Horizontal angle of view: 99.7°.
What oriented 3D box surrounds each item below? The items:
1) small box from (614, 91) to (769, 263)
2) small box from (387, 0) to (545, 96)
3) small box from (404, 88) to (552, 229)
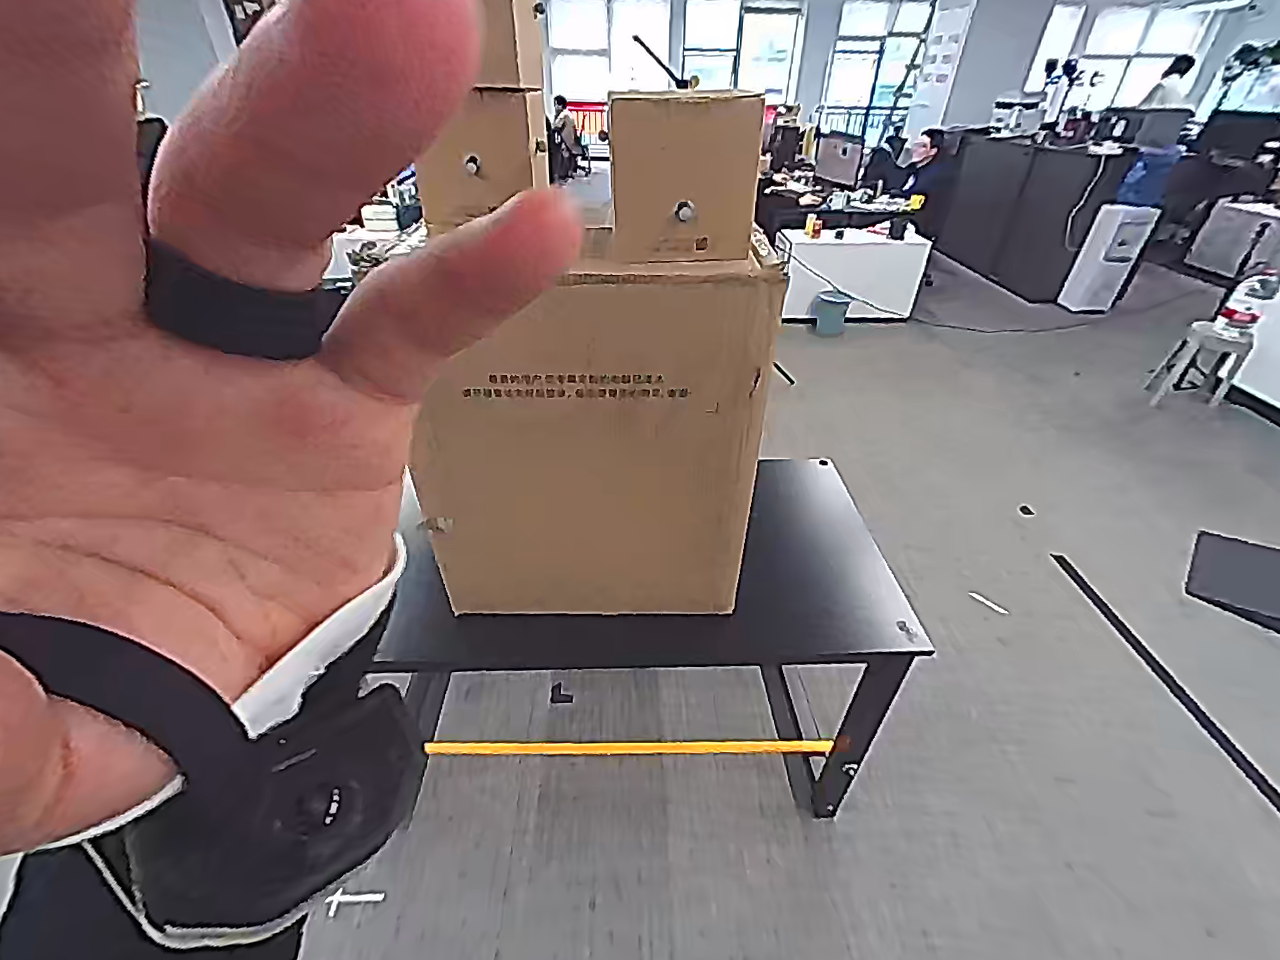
[{"bbox_3d":[0.051,-0.383,0.679,0.168,0.176,0.179,-3,38,-2],"label":"small box"},{"bbox_3d":[-0.220,-0.607,0.702,0.168,0.176,0.179,1,37,0],"label":"small box"},{"bbox_3d":[-0.227,-0.484,0.811,0.168,0.176,0.179,1,37,-2],"label":"small box"}]
